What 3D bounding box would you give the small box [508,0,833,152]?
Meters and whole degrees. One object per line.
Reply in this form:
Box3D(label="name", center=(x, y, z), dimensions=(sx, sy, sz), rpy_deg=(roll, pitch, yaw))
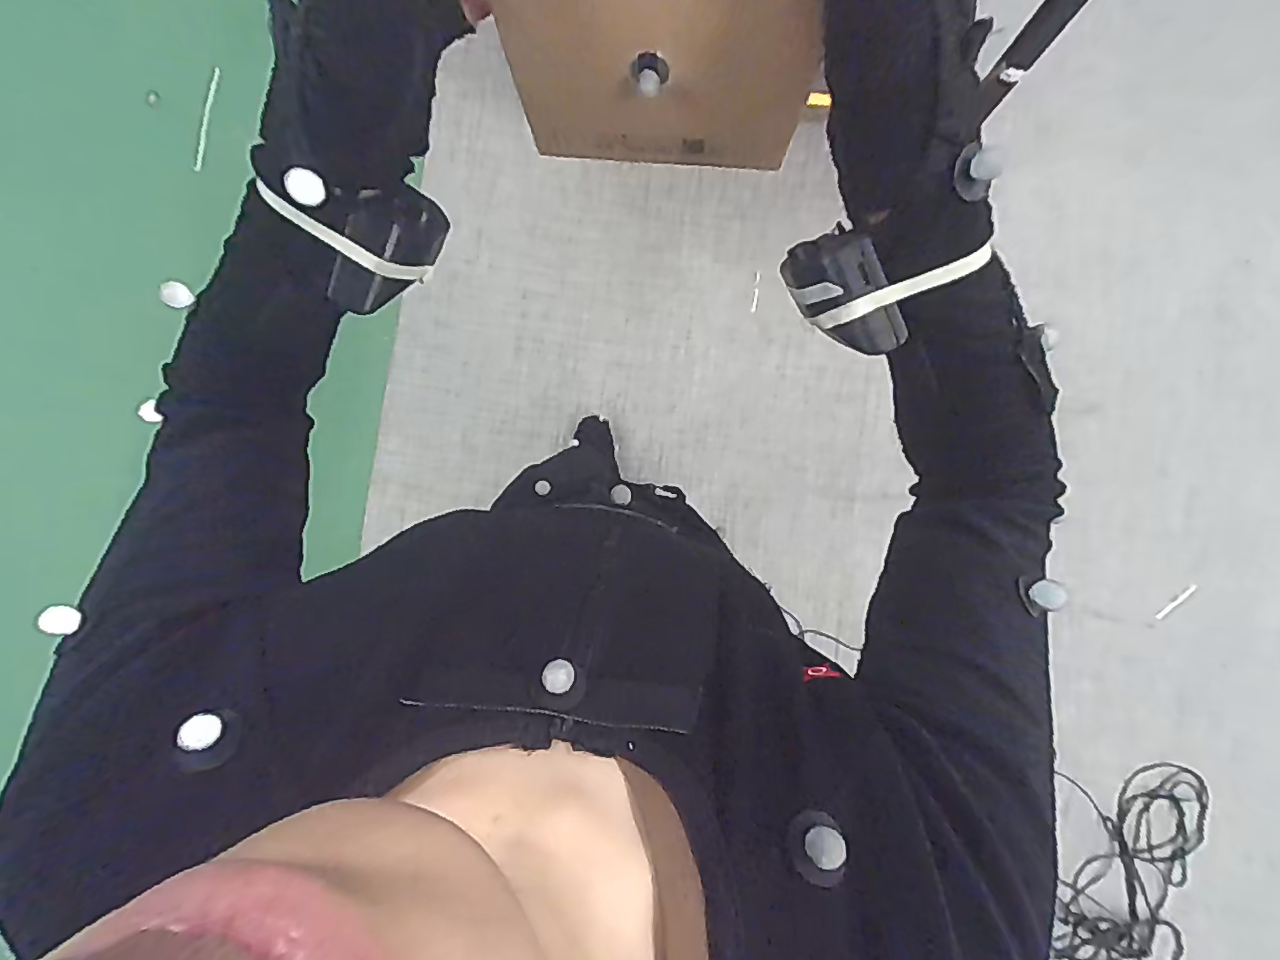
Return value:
Box3D(label="small box", center=(0.021, -0.312, 0.290), dimensions=(0.168, 0.176, 0.179), rpy_deg=(5, 86, 1))
